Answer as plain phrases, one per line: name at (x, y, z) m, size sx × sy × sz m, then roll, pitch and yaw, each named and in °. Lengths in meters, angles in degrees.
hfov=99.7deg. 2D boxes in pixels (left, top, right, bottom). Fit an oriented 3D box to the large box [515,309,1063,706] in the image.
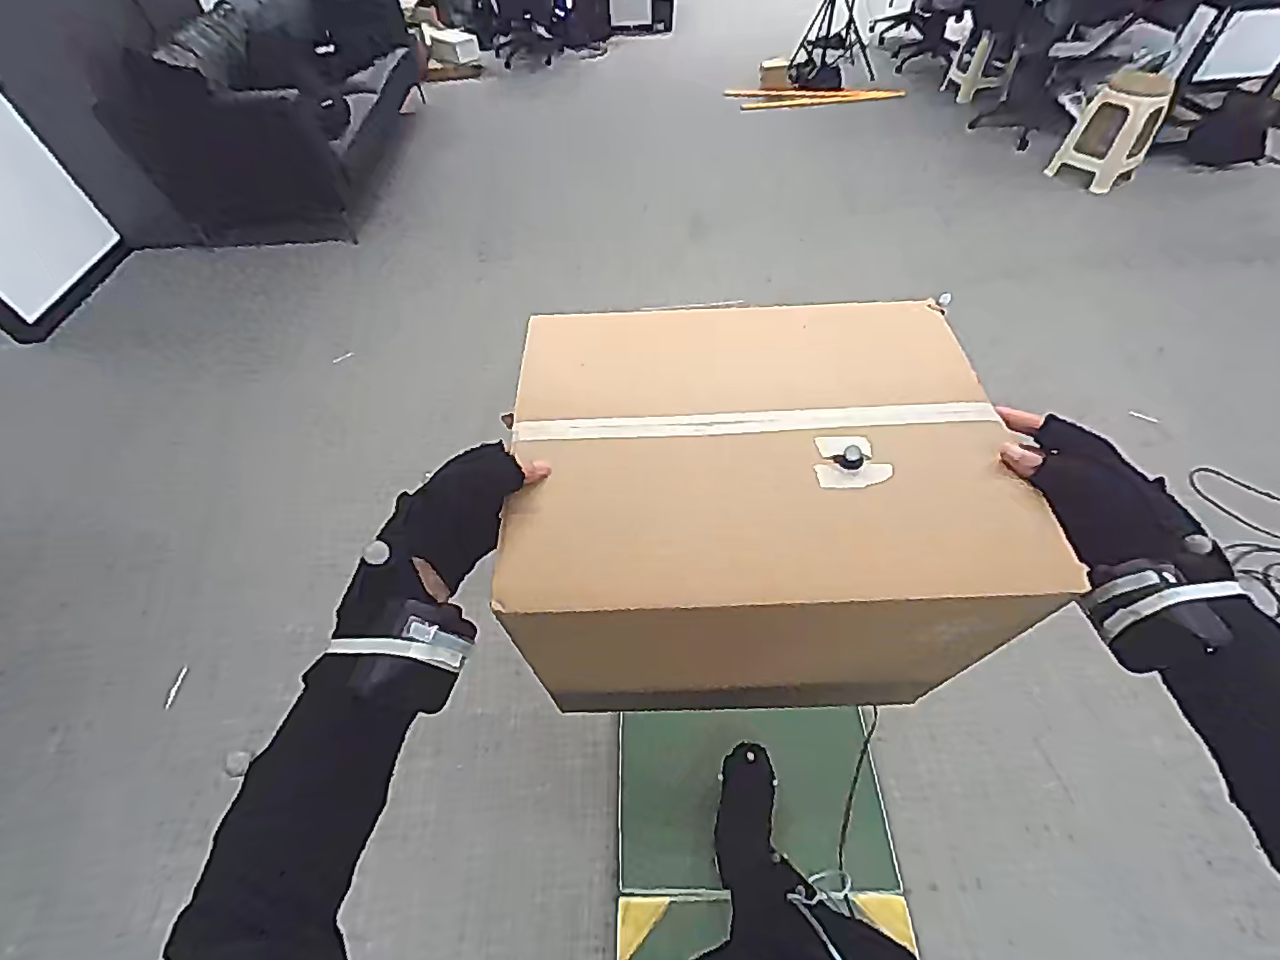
large box at (0.102, 0.041, 0.590) m, size 0.408 × 0.320 × 0.320 m, roll -2°, pitch 55°, yaw -1°
